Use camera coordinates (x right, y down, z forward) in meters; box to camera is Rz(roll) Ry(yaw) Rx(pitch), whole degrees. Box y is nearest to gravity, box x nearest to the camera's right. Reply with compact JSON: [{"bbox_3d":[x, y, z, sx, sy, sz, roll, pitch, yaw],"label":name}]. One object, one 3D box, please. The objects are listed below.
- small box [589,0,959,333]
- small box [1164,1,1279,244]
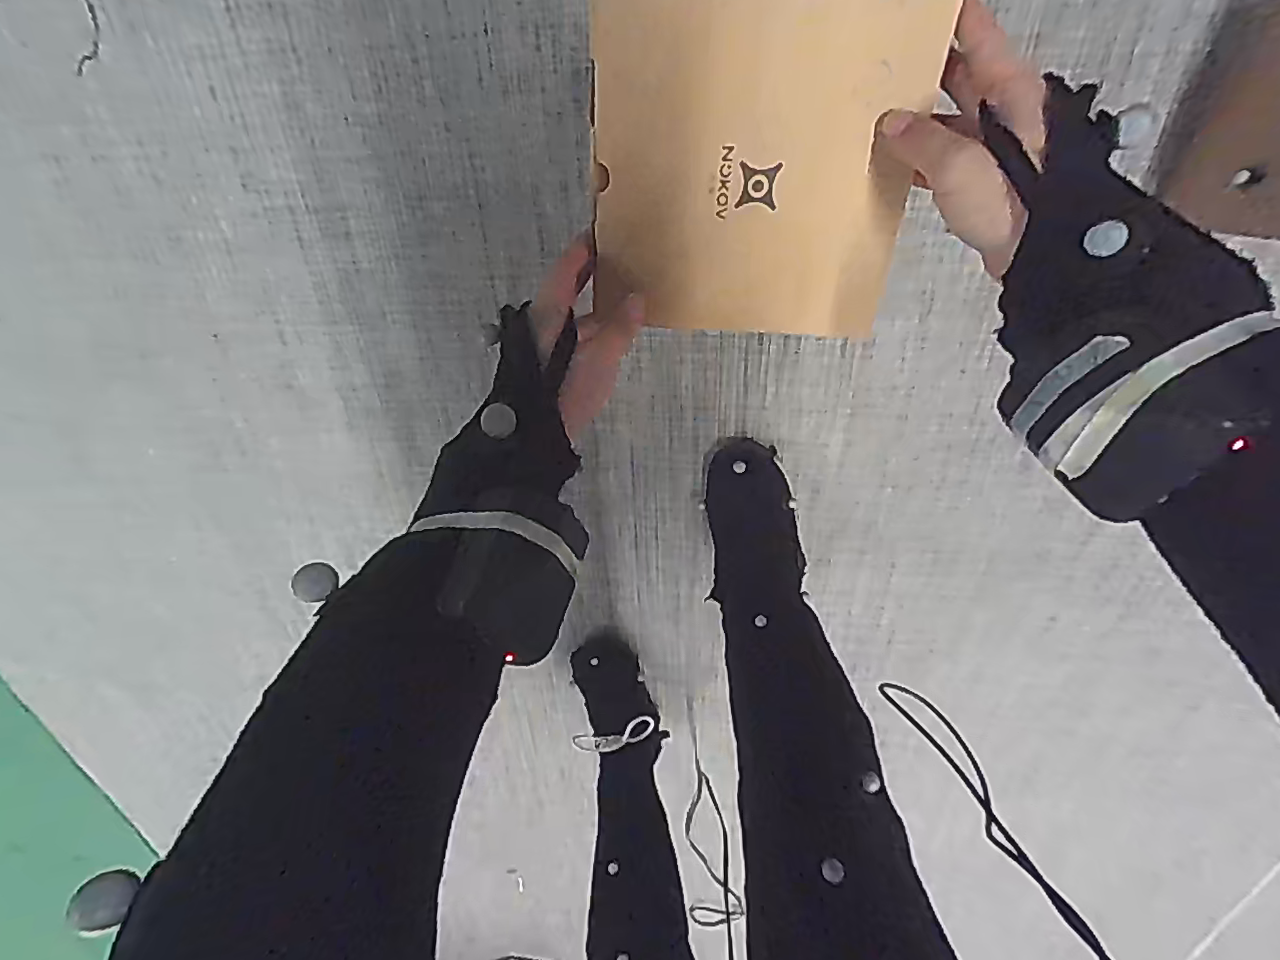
[{"bbox_3d":[0.062,-0.210,0.360,0.179,0.176,0.168,4,125,1],"label":"small box"},{"bbox_3d":[0.584,-0.278,0.423,0.168,0.176,0.179,6,119,2],"label":"small box"}]
